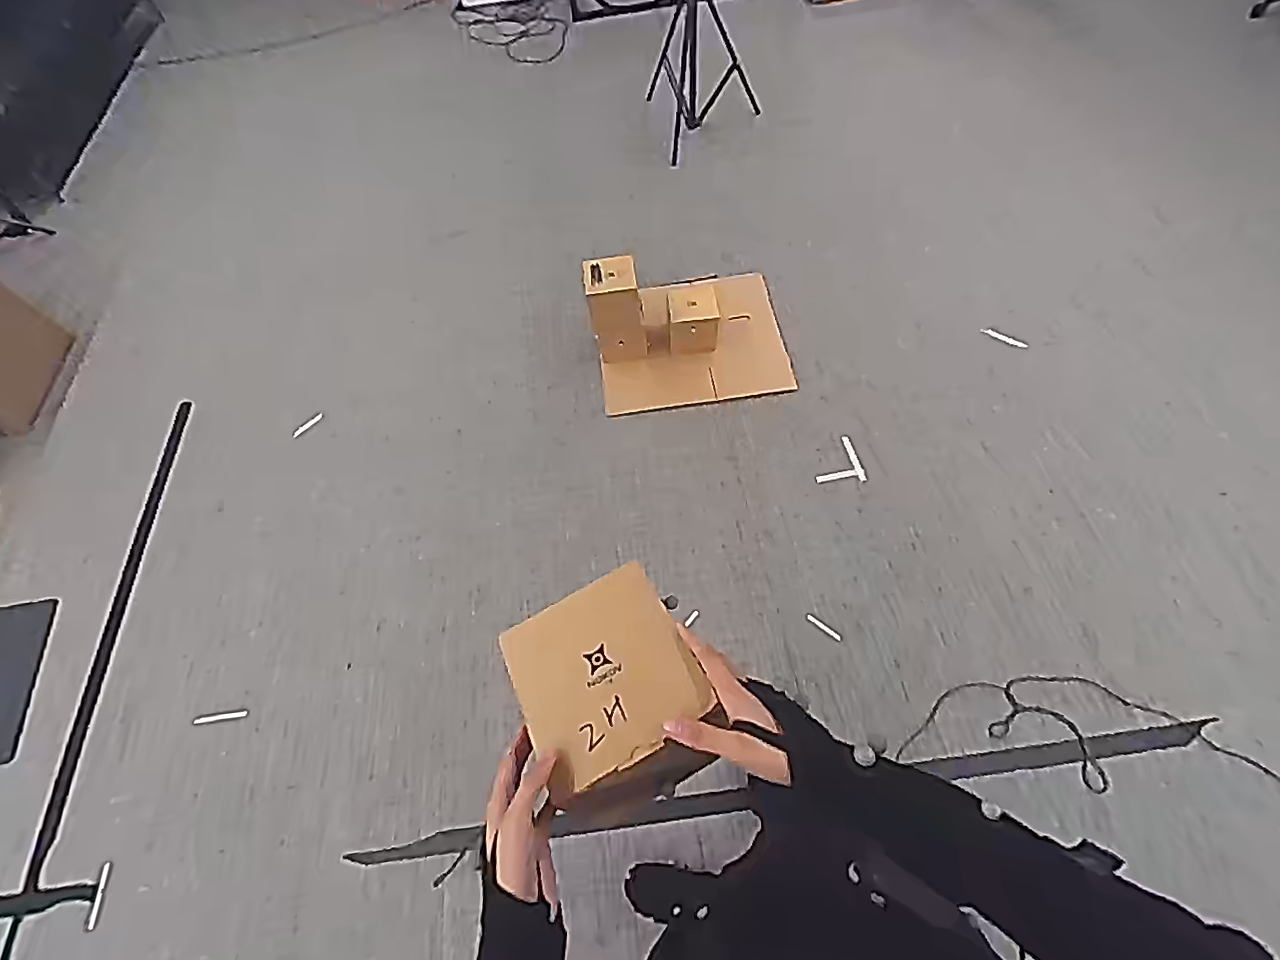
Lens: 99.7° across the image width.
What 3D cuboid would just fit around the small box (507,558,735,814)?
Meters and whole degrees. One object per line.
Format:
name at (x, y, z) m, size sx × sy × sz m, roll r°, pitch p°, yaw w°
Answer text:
small box at (-0.015, 0.222, 0.578) m, size 0.168 × 0.176 × 0.179 m, roll -28°, pitch 51°, yaw -7°

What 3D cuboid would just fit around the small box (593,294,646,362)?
small box at (-0.074, -0.566, 2.023) m, size 0.179 × 0.176 × 0.168 m, roll -9°, pitch 61°, yaw 2°

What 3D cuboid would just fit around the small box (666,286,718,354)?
small box at (0.190, -0.594, 2.017) m, size 0.179 × 0.176 × 0.168 m, roll -7°, pitch 62°, yaw 1°
